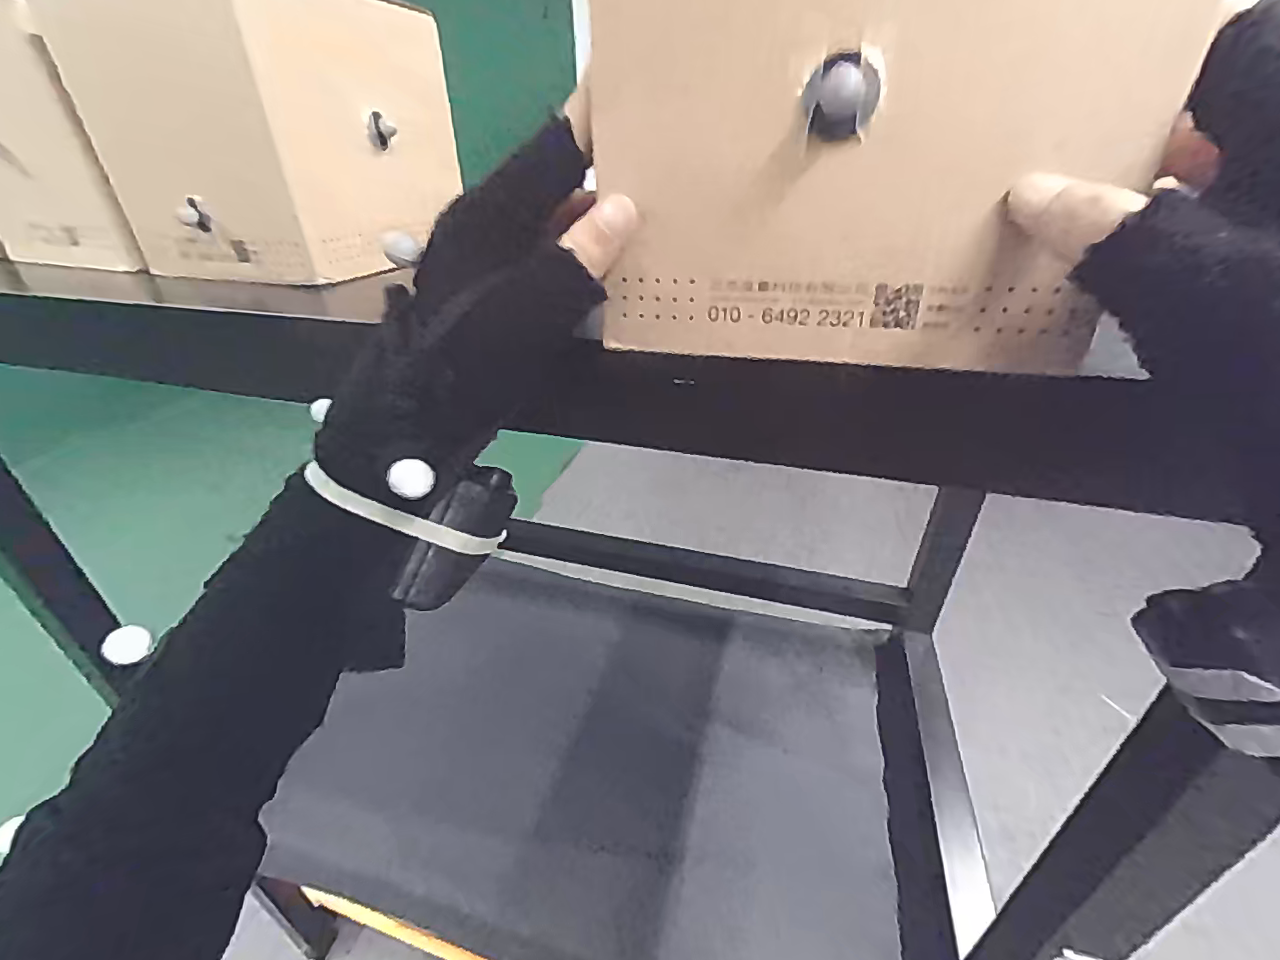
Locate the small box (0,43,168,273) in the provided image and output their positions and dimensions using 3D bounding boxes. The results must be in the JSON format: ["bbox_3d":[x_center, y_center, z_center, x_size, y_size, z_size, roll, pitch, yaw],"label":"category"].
[{"bbox_3d":[-0.608,-0.305,0.514,0.168,0.176,0.179,8,33,13],"label":"small box"}]
